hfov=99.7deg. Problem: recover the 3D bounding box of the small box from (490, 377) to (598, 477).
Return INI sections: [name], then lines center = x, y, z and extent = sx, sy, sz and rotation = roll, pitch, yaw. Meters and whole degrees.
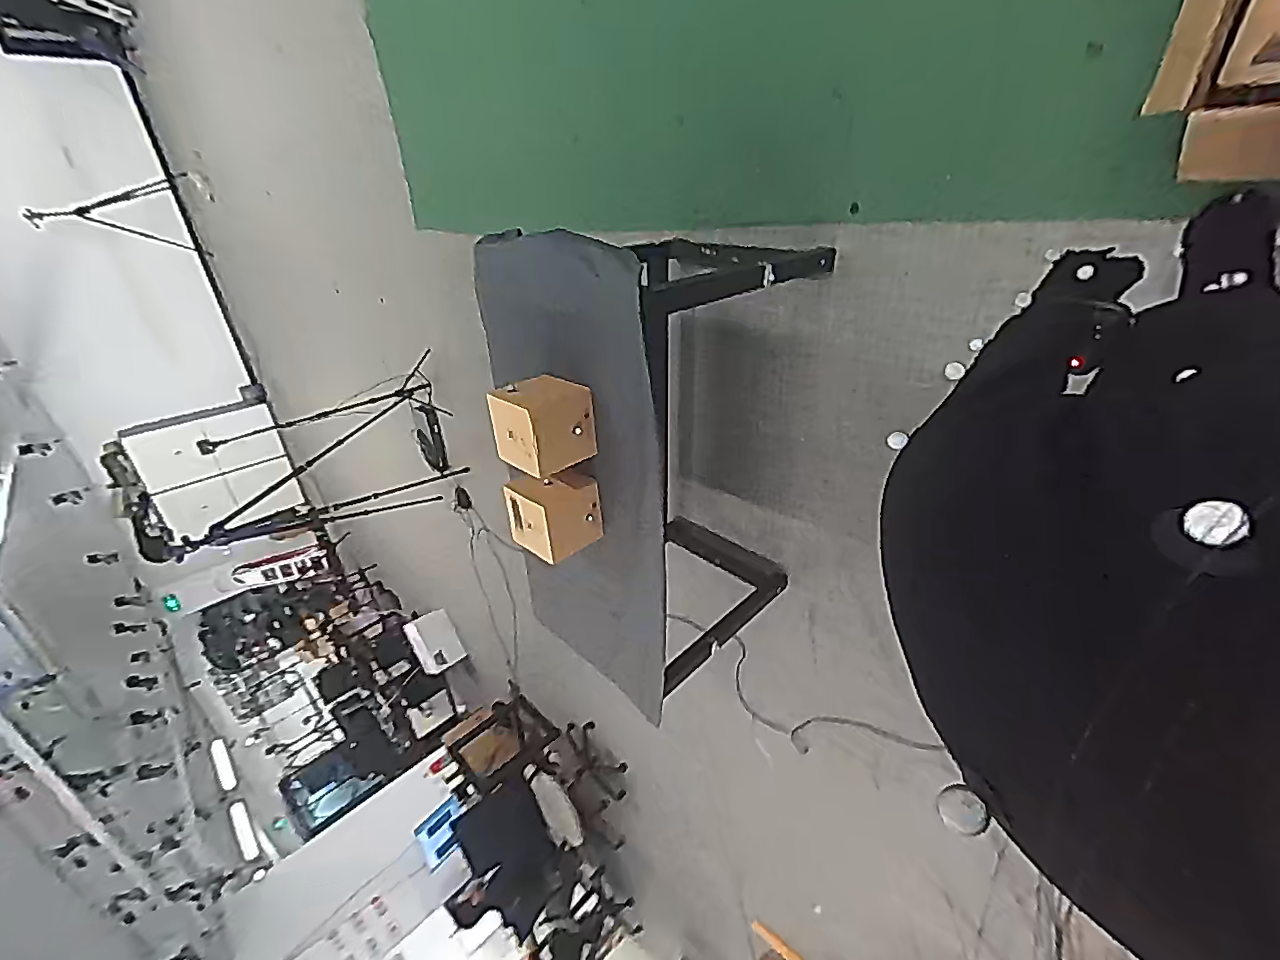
[small box]
center = -0.218, -0.132, 1.248
extent = 0.179, 0.176, 0.168
rotation = 24, 128, 40
